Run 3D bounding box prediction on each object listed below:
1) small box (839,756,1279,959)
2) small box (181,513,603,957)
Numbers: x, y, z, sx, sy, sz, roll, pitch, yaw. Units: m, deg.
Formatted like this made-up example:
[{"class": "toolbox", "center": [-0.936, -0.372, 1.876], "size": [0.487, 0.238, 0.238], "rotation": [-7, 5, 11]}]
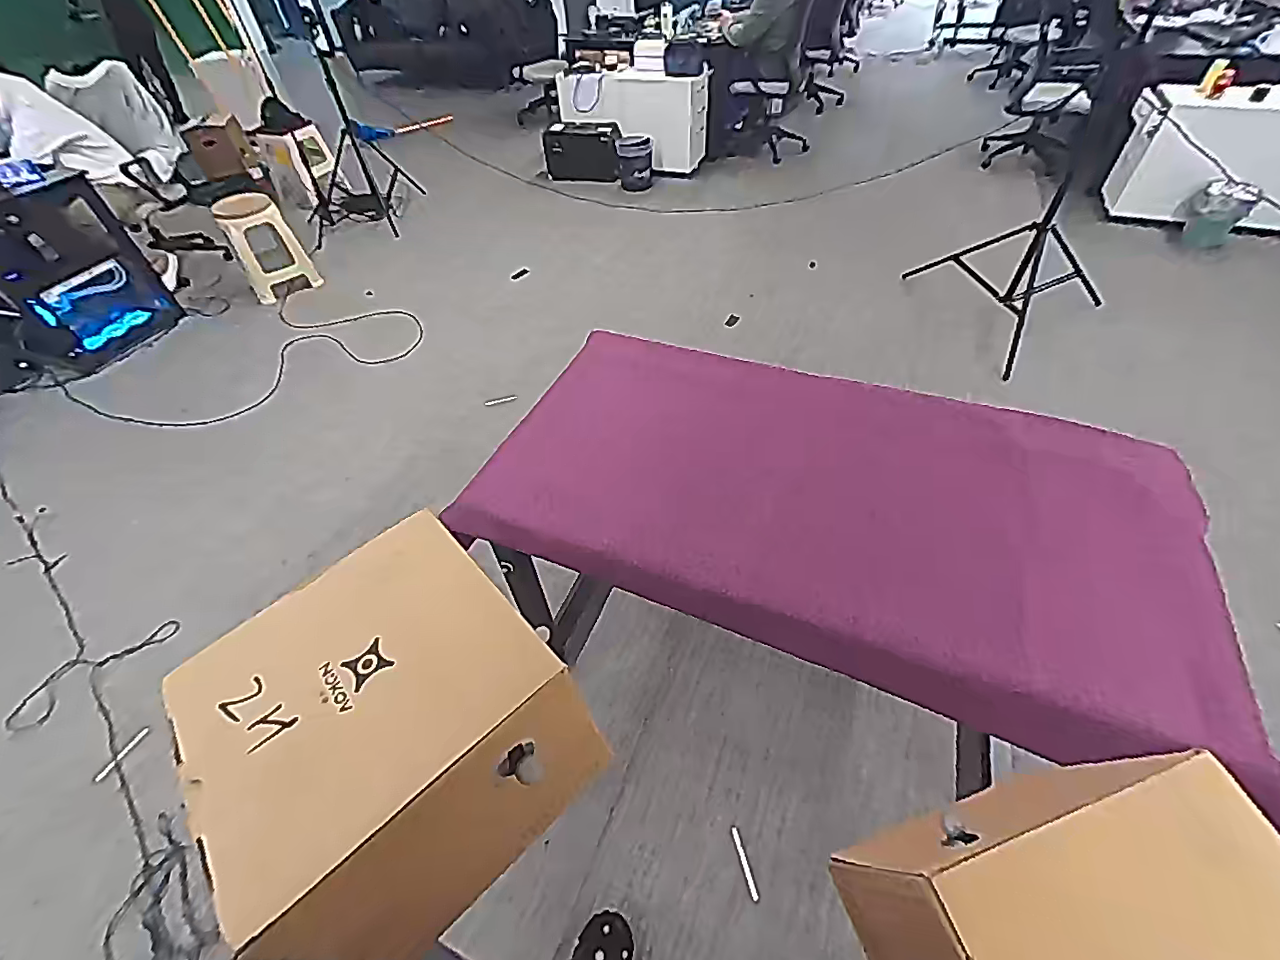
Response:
[{"class": "small box", "center": [0.246, 0.275, 0.303], "size": [0.179, 0.176, 0.168], "rotation": [-17, 59, -9]}, {"class": "small box", "center": [-0.140, 0.162, 0.359], "size": [0.179, 0.176, 0.168], "rotation": [-37, 52, -22]}]
